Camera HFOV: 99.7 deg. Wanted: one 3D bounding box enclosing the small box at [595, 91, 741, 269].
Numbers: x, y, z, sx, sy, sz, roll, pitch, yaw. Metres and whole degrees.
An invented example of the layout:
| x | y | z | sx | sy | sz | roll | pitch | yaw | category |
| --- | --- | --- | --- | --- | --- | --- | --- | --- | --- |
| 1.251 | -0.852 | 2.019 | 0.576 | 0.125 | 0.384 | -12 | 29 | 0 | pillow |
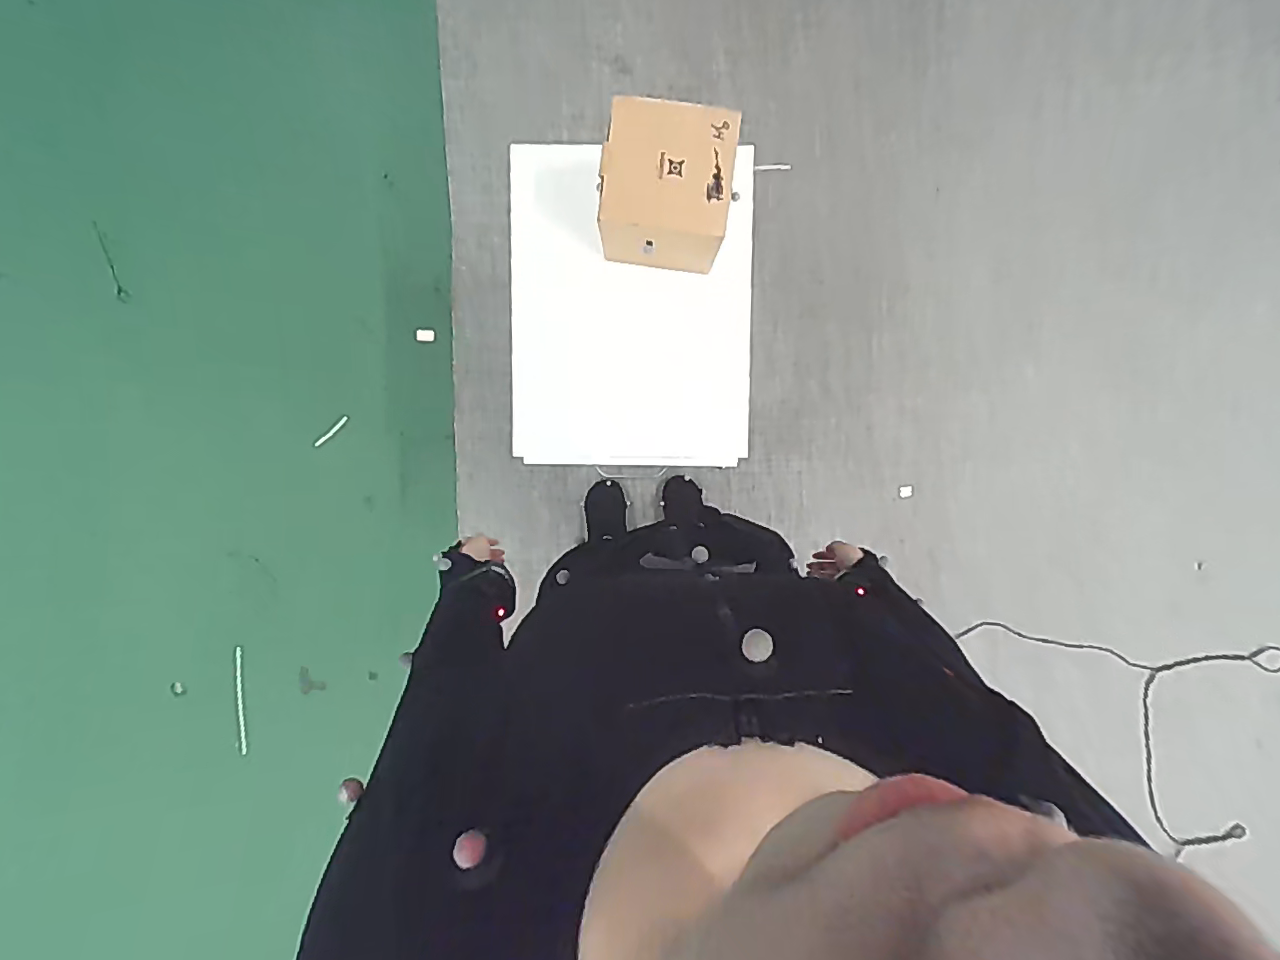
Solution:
| x | y | z | sx | sy | sz | roll | pitch | yaw | category |
| --- | --- | --- | --- | --- | --- | --- | --- | --- | --- |
| 0.037 | -0.426 | 0.796 | 0.179 | 0.176 | 0.168 | 8 | 94 | 0 | small box |
